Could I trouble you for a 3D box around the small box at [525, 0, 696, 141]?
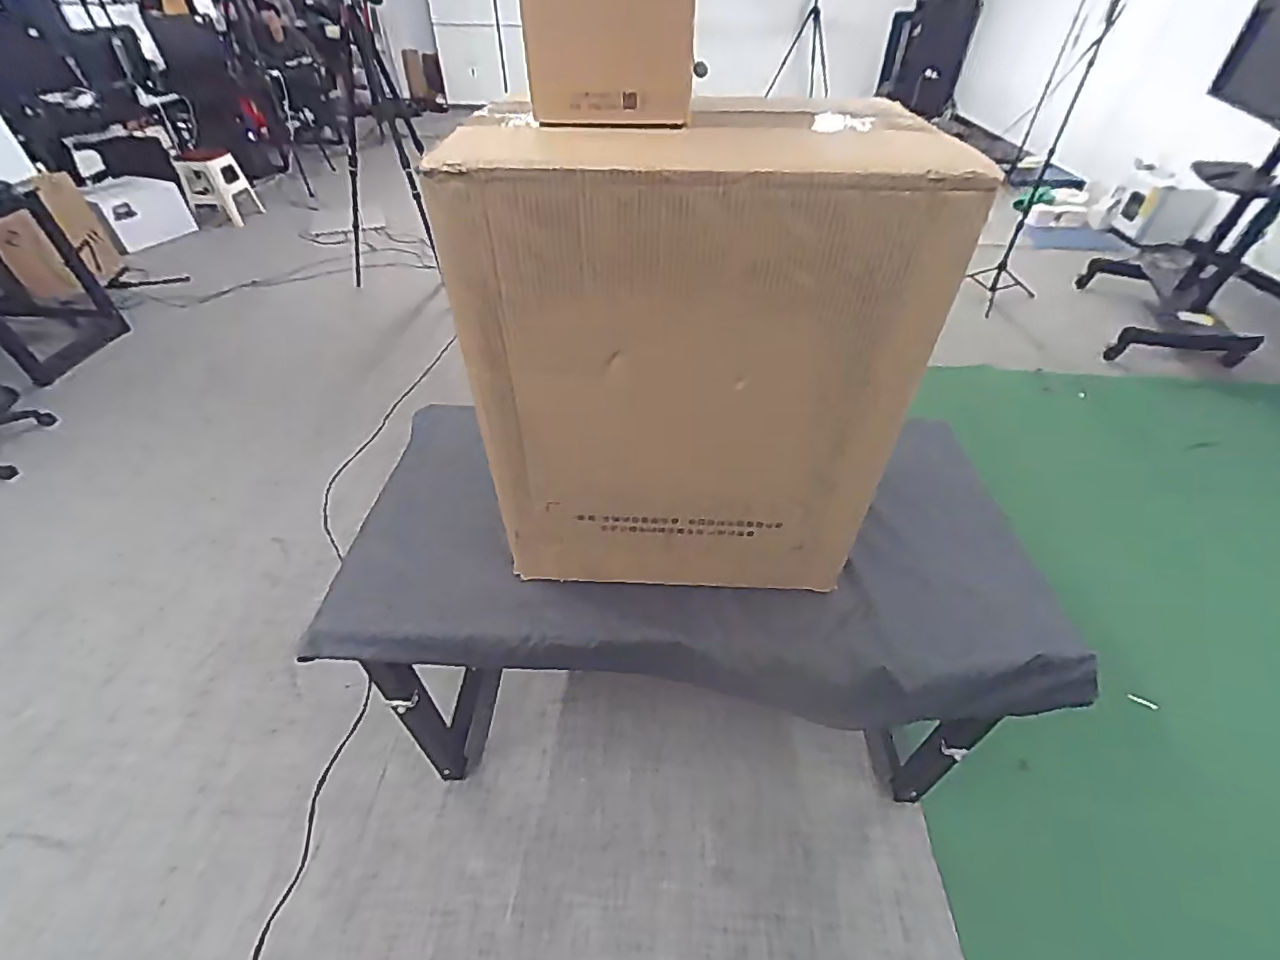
[{"bbox_3d":[-0.025,-0.482,0.587,0.168,0.176,0.179,2,41,4],"label":"small box"}]
